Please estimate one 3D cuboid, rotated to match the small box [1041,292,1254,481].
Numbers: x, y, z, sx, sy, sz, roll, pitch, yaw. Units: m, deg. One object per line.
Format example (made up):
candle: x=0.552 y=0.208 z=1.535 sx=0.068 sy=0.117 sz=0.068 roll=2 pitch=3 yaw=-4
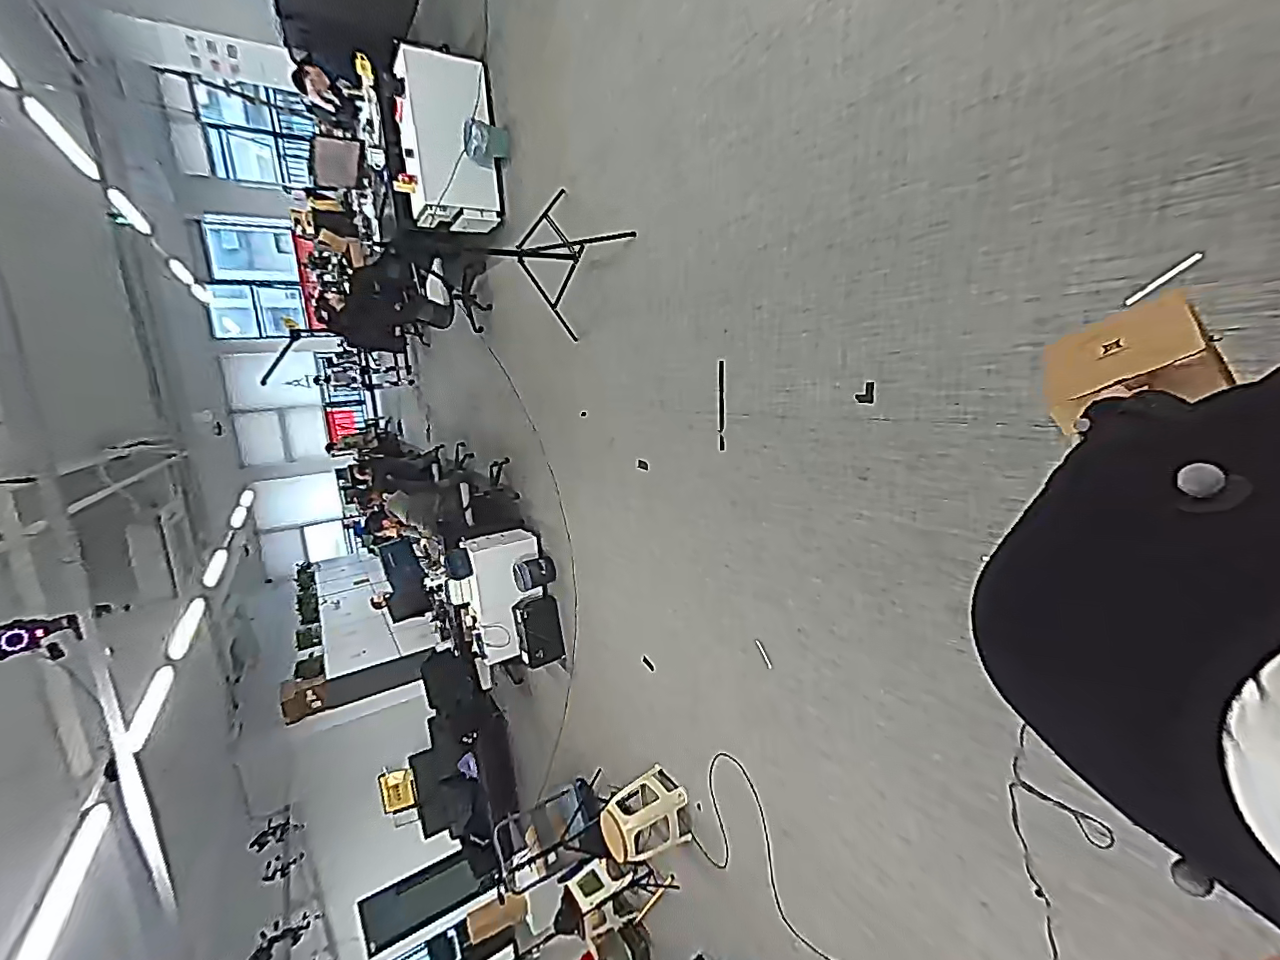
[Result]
small box: x=0.699 y=-0.119 z=0.758 sx=0.176 sy=0.179 sz=0.168 roll=45 pitch=140 yaw=-15
